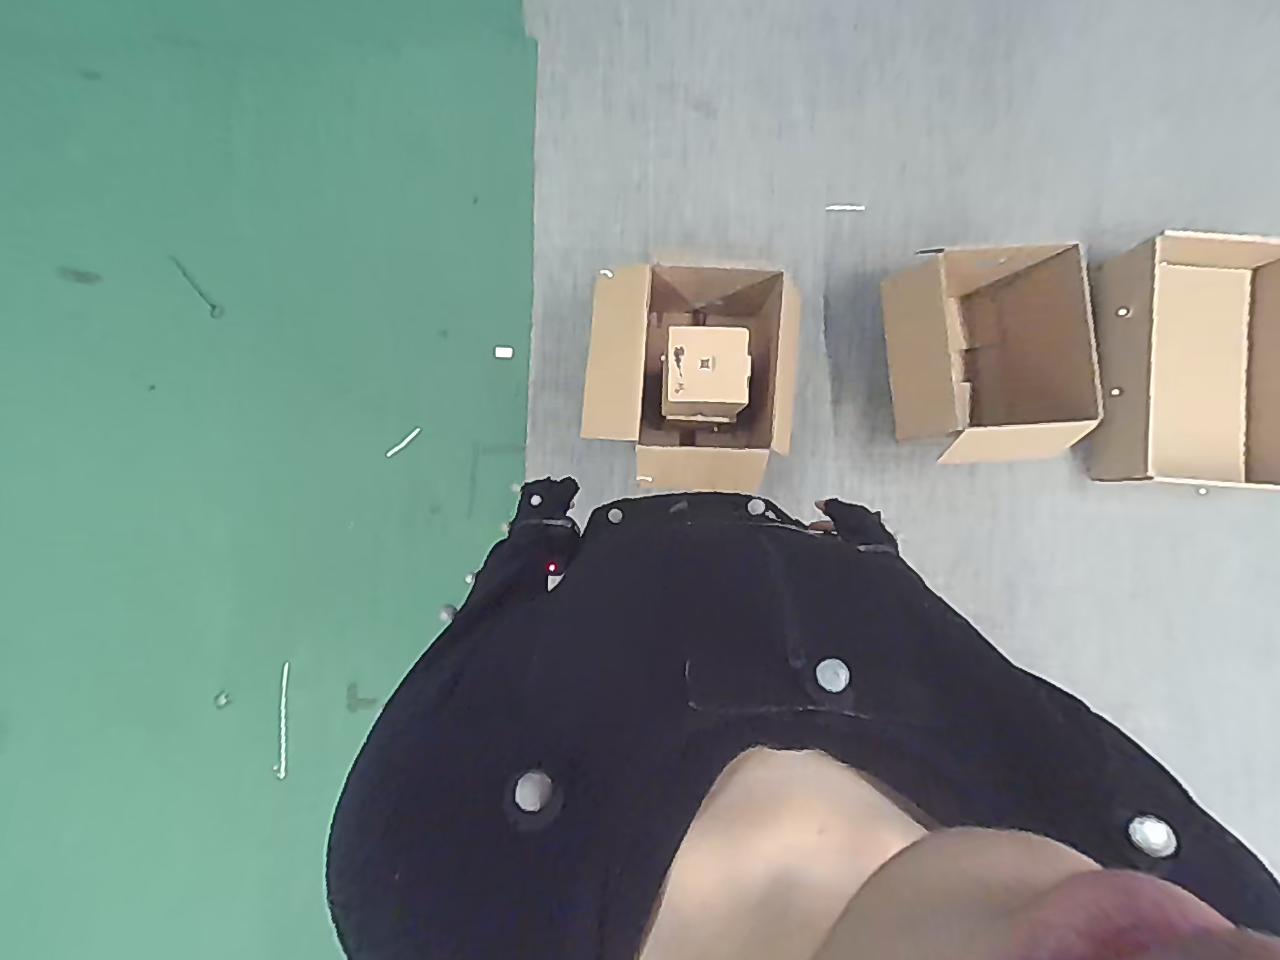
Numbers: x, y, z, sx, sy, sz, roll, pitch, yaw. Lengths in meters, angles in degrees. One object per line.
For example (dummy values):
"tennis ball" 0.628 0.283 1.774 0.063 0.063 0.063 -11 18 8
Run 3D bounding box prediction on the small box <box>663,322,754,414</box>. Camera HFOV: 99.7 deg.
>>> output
"small box" 0.150 -0.247 1.226 0.179 0.176 0.168 2 86 -3
